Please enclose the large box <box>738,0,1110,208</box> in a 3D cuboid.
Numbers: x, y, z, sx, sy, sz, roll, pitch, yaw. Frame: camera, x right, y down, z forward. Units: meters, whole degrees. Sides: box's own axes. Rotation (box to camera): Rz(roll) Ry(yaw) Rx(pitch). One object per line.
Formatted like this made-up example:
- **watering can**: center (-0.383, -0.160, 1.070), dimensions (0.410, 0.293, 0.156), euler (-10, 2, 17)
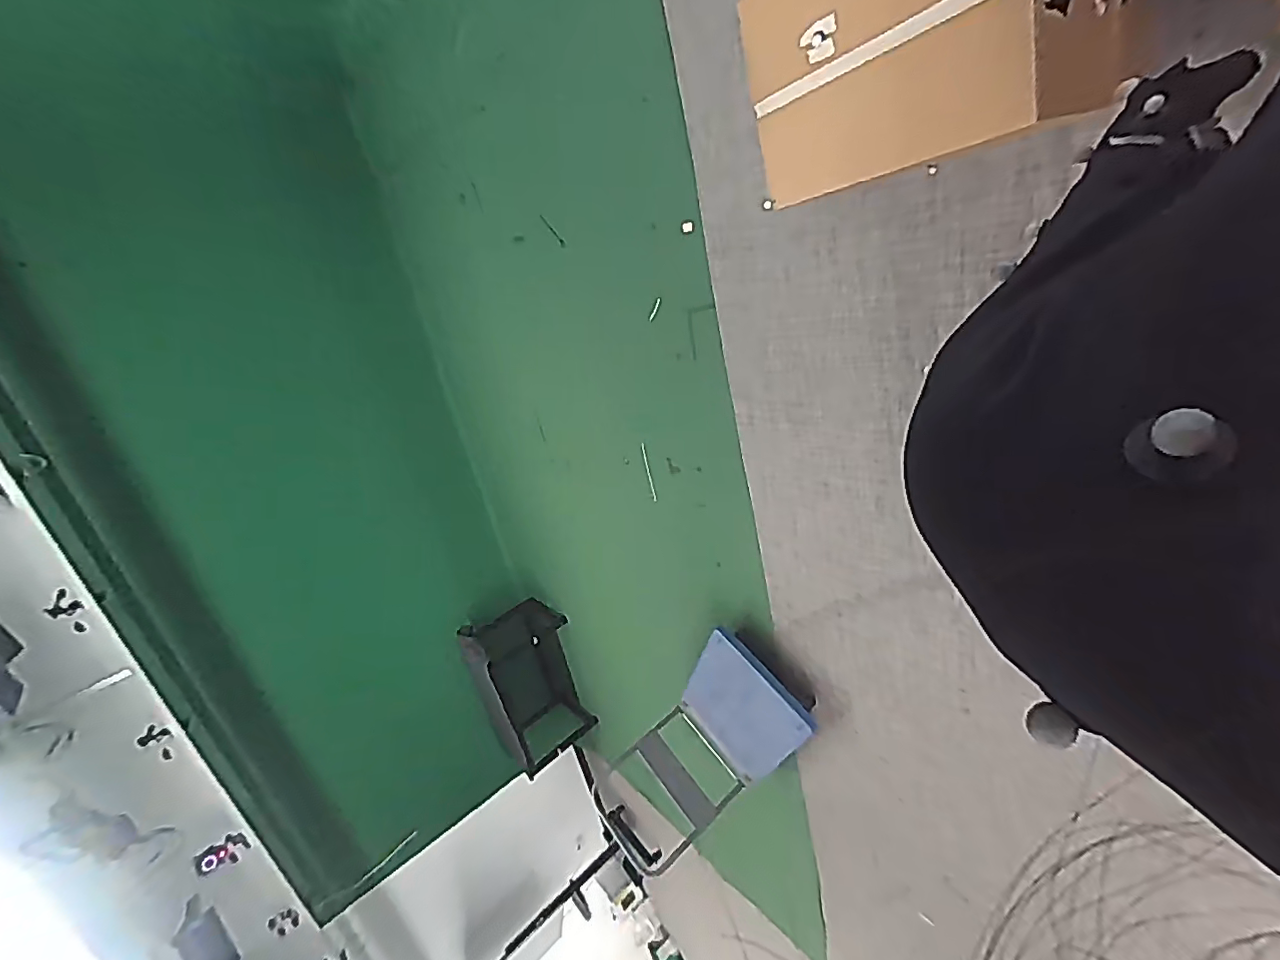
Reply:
- **large box**: center (0.429, -0.667, 0.836), dimensions (0.408, 0.320, 0.320), euler (12, 125, 52)
